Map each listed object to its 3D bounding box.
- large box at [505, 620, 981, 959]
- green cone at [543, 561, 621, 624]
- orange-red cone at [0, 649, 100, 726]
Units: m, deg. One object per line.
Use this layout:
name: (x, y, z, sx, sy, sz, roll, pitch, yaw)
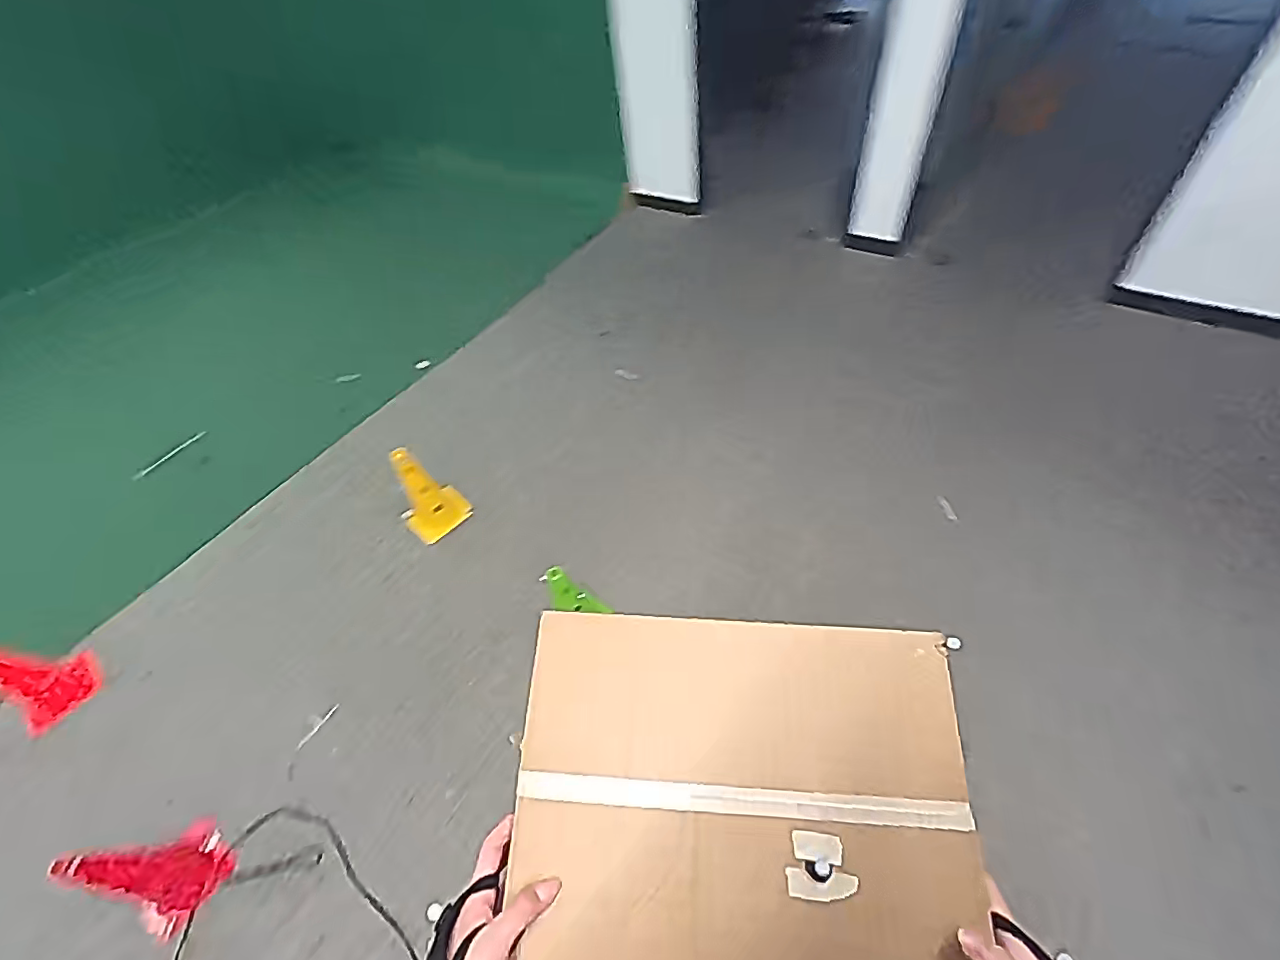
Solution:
large box: (0.088, 0.349, 0.633, 0.408, 0.320, 0.320, 1, 67, 2)
green cone: (-0.208, 0.348, 1.597, 0.202, 0.368, 0.200, 31, 61, 29)
orange-red cone: (-1.915, 0.574, 1.643, 0.198, 0.360, 0.199, 33, 64, 30)
